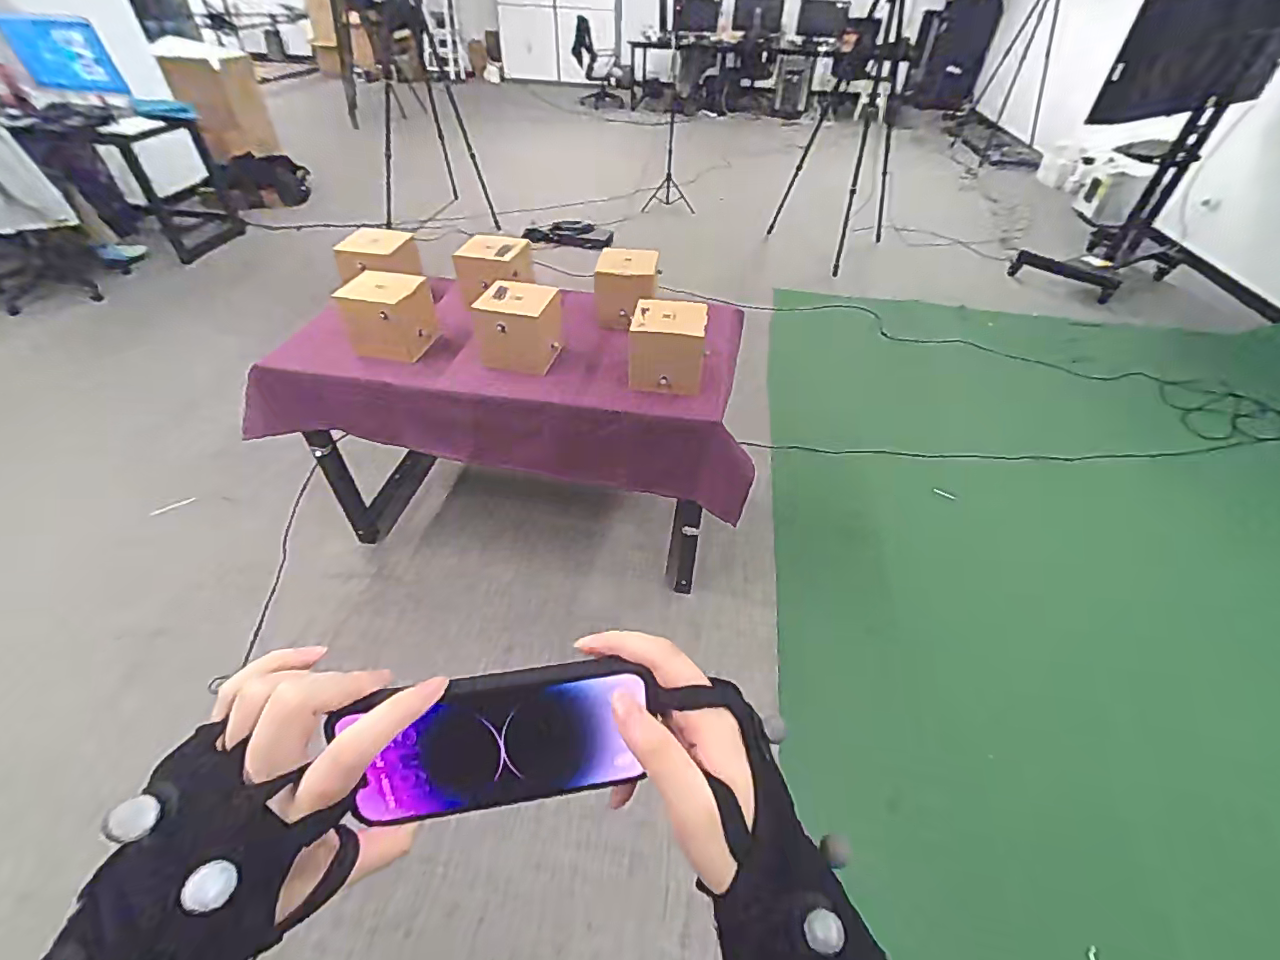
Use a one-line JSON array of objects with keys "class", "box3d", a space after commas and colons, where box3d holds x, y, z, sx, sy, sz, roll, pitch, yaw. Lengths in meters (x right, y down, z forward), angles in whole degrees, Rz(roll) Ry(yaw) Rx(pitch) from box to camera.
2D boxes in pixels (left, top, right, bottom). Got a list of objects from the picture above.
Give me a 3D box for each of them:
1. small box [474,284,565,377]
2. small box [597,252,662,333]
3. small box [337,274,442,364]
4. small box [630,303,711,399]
[{"class": "small box", "box3d": [-0.304, -0.387, 1.407, 0.179, 0.176, 0.168, 11, 44, 8]}, {"class": "small box", "box3d": [-0.030, -0.549, 1.586, 0.168, 0.176, 0.179, 6, 44, 5]}, {"class": "small box", "box3d": [-0.654, -0.425, 1.435, 0.179, 0.176, 0.168, 10, 44, 6]}, {"class": "small box", "box3d": [0.076, -0.320, 1.350, 0.179, 0.176, 0.168, 7, 43, 5]}]
